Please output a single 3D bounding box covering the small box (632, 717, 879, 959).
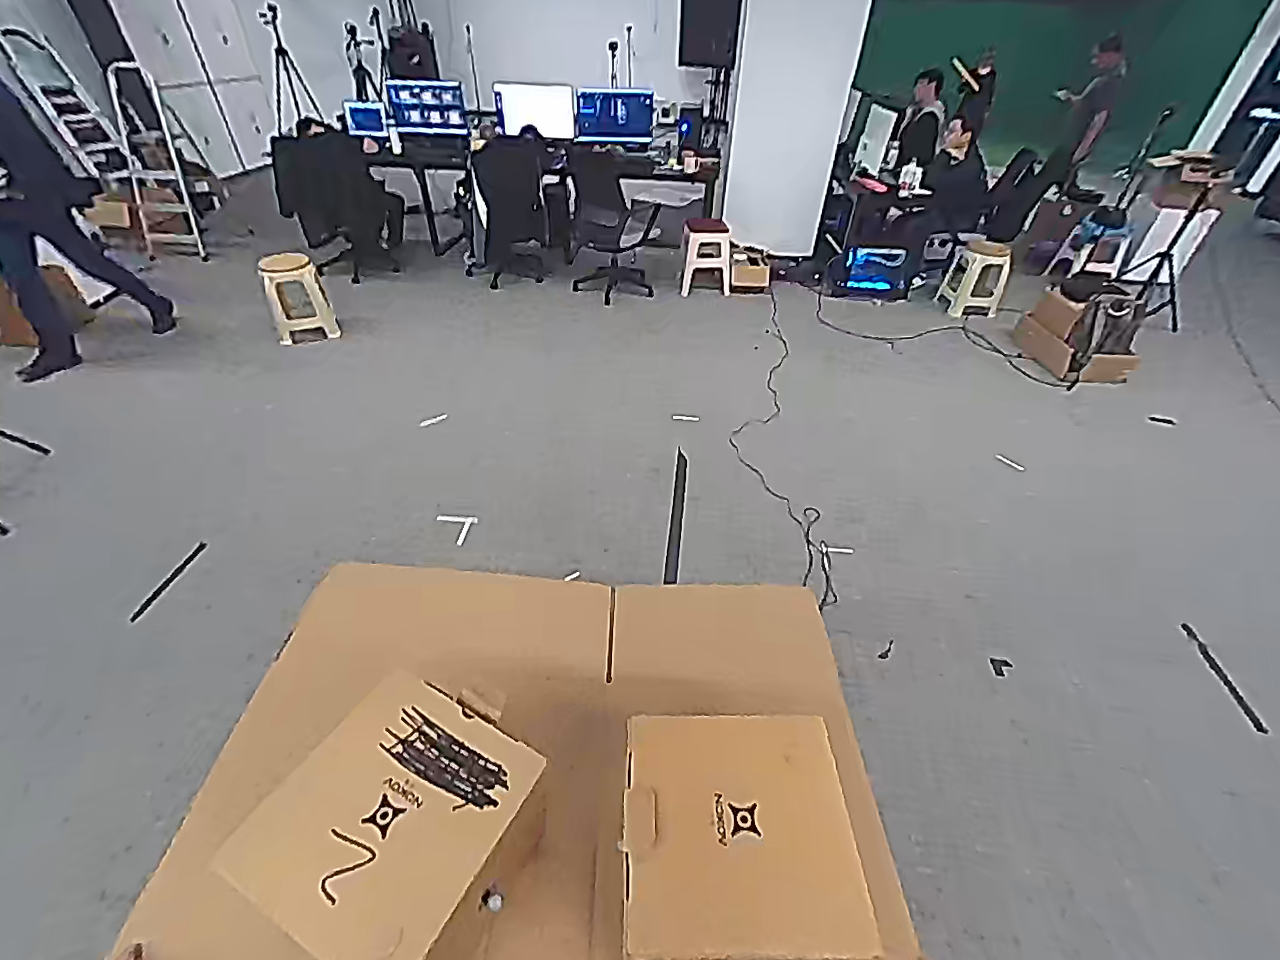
[{"bbox_3d":[0.083,0.334,0.489,0.179,0.176,0.168,-1,40,1],"label":"small box"}]
